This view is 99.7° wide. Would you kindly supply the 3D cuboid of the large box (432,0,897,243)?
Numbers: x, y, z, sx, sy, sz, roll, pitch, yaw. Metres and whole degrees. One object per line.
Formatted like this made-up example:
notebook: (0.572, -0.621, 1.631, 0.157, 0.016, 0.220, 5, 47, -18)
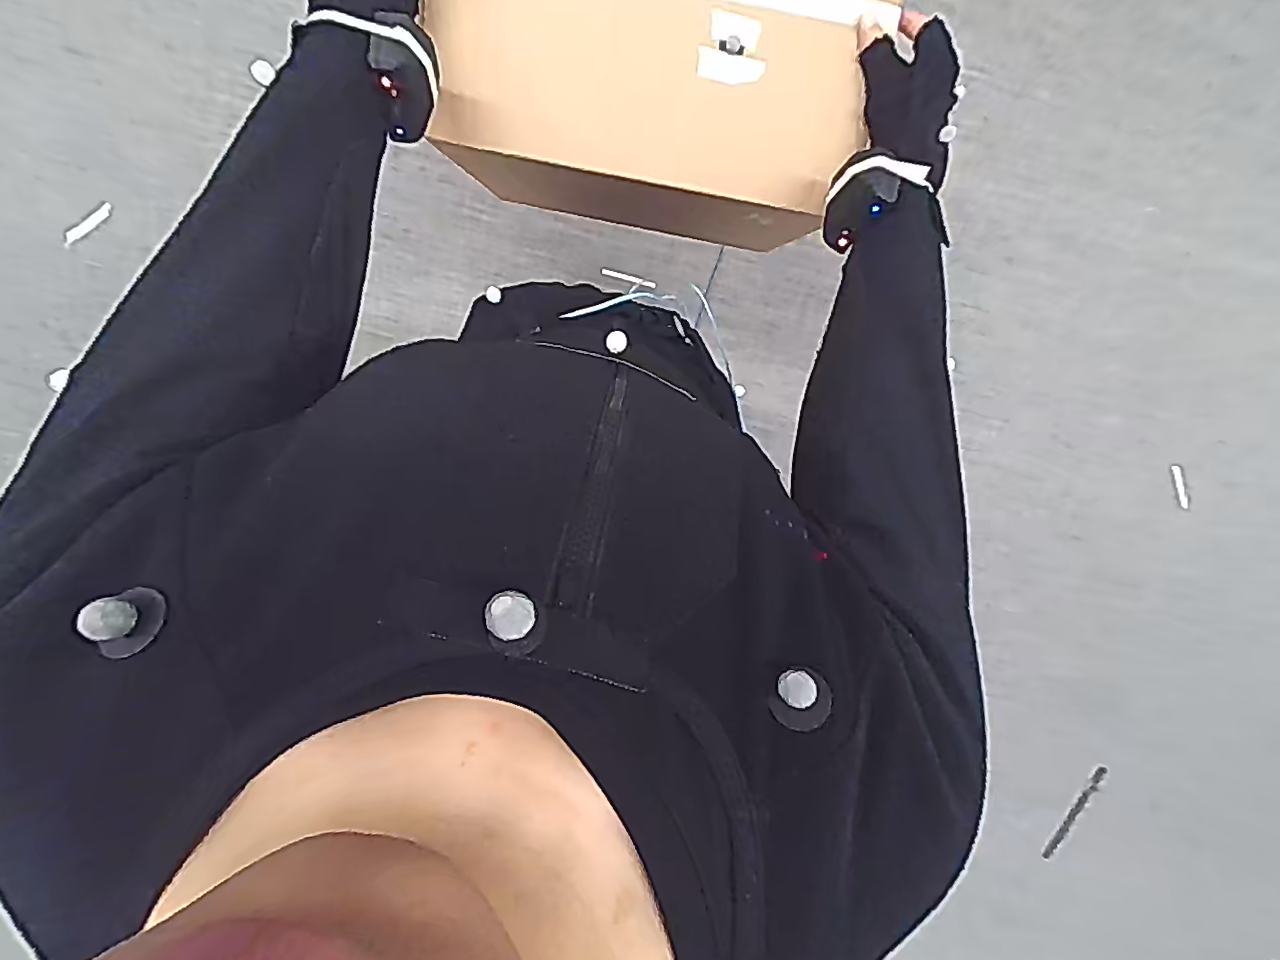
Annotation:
large box: (0.023, -0.478, 0.606, 0.408, 0.320, 0.320, 10, 108, -4)
